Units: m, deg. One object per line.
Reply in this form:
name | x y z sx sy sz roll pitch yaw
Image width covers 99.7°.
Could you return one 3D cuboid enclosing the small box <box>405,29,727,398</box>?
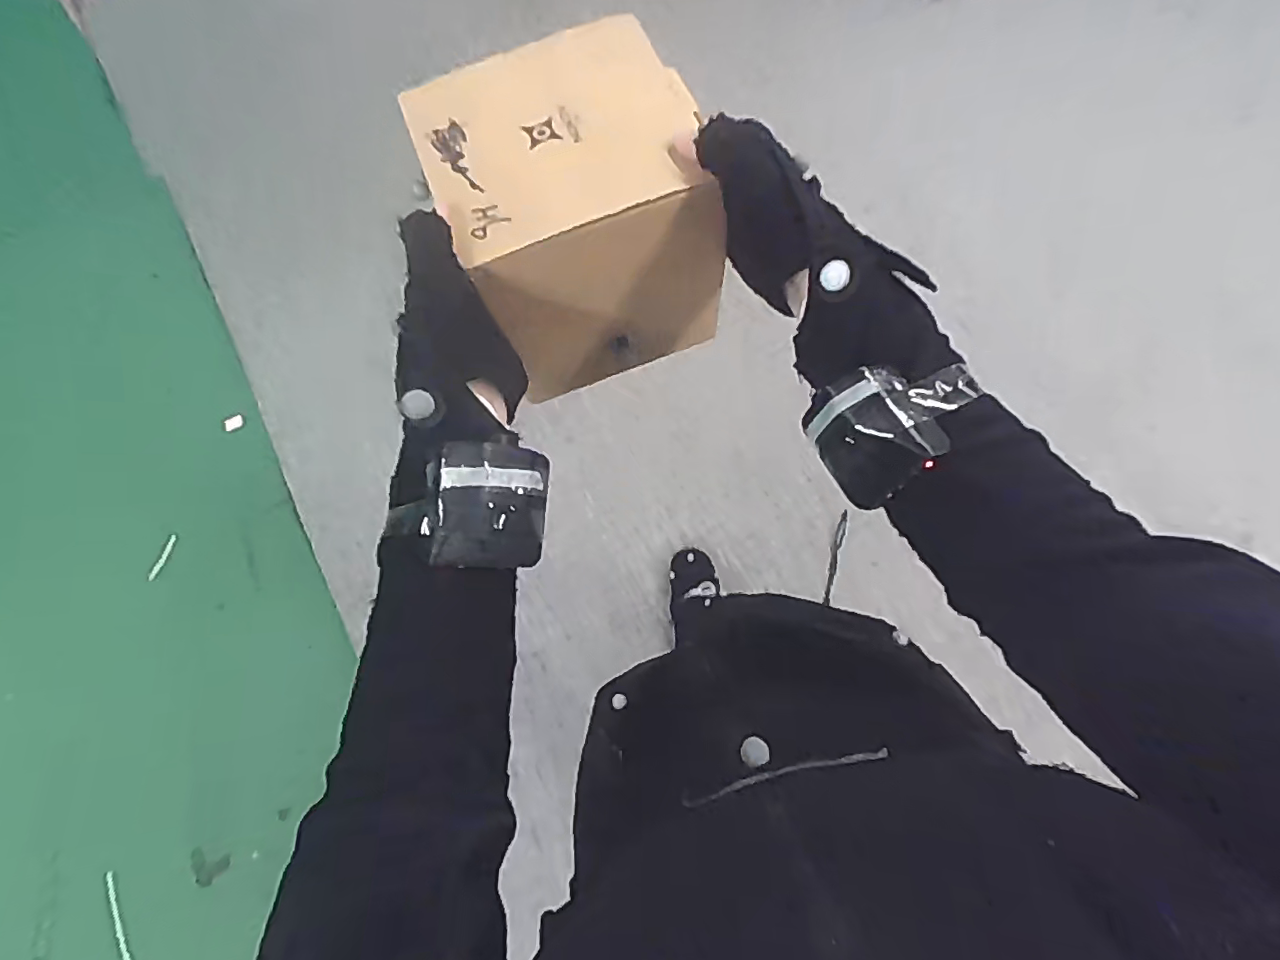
small box | -0.050 -0.193 0.426 0.179 0.176 0.168 -21 69 -4
